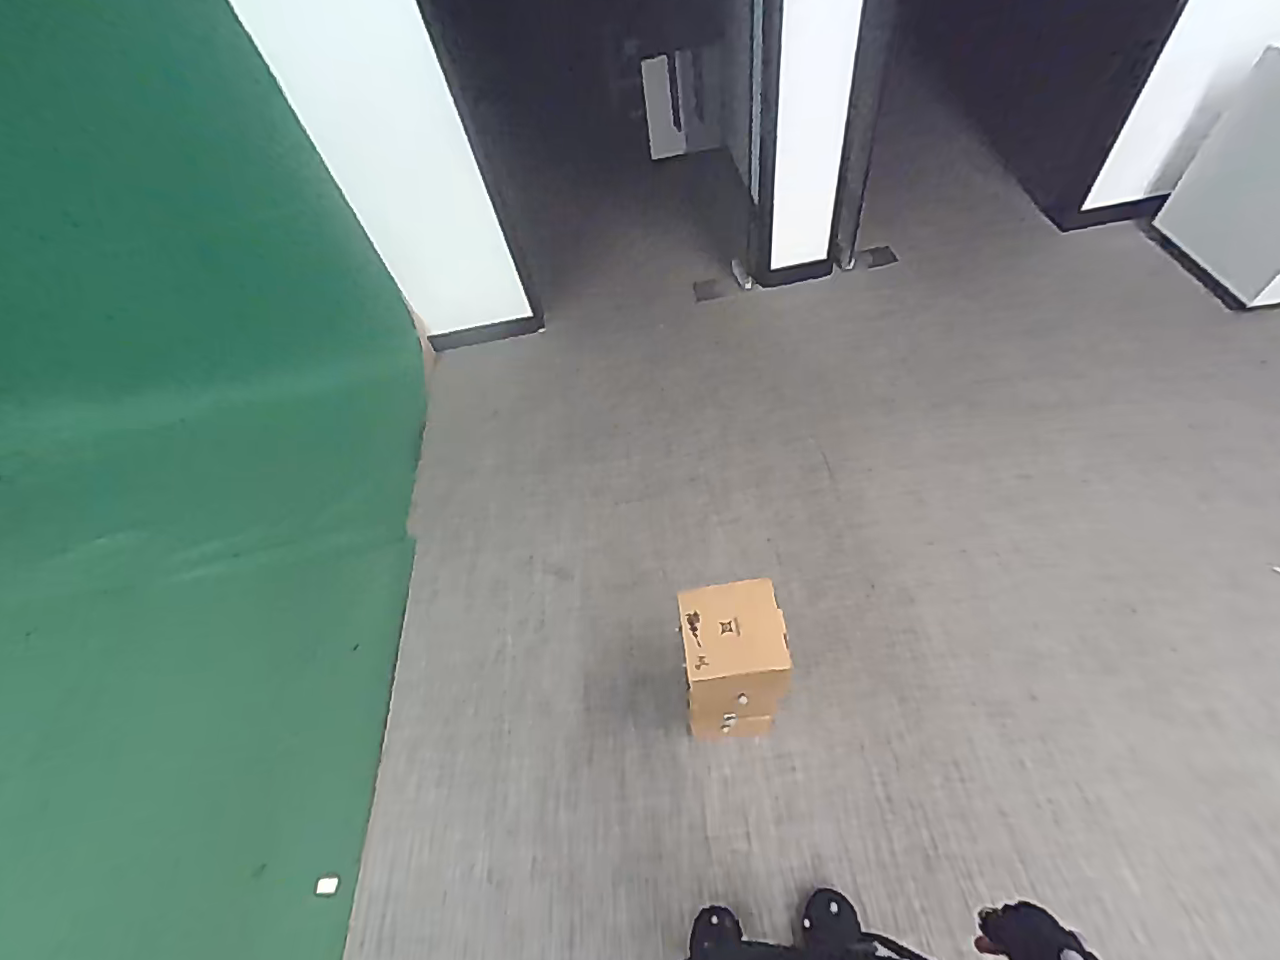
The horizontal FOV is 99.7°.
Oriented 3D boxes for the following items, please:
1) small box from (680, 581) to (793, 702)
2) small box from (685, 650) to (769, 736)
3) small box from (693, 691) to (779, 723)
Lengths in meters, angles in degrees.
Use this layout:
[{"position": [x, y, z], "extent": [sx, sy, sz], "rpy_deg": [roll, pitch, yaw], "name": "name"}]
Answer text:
[{"position": [0.175, 0.306, 1.013], "extent": [0.179, 0.176, 0.168], "rpy_deg": [-9, 53, 5], "name": "small box"}, {"position": [0.205, 0.498, 1.274], "extent": [0.179, 0.176, 0.168], "rpy_deg": [-7, 54, 5], "name": "small box"}, {"position": [0.193, 0.398, 1.147], "extent": [0.168, 0.176, 0.179], "rpy_deg": [-9, 54, 6], "name": "small box"}]
